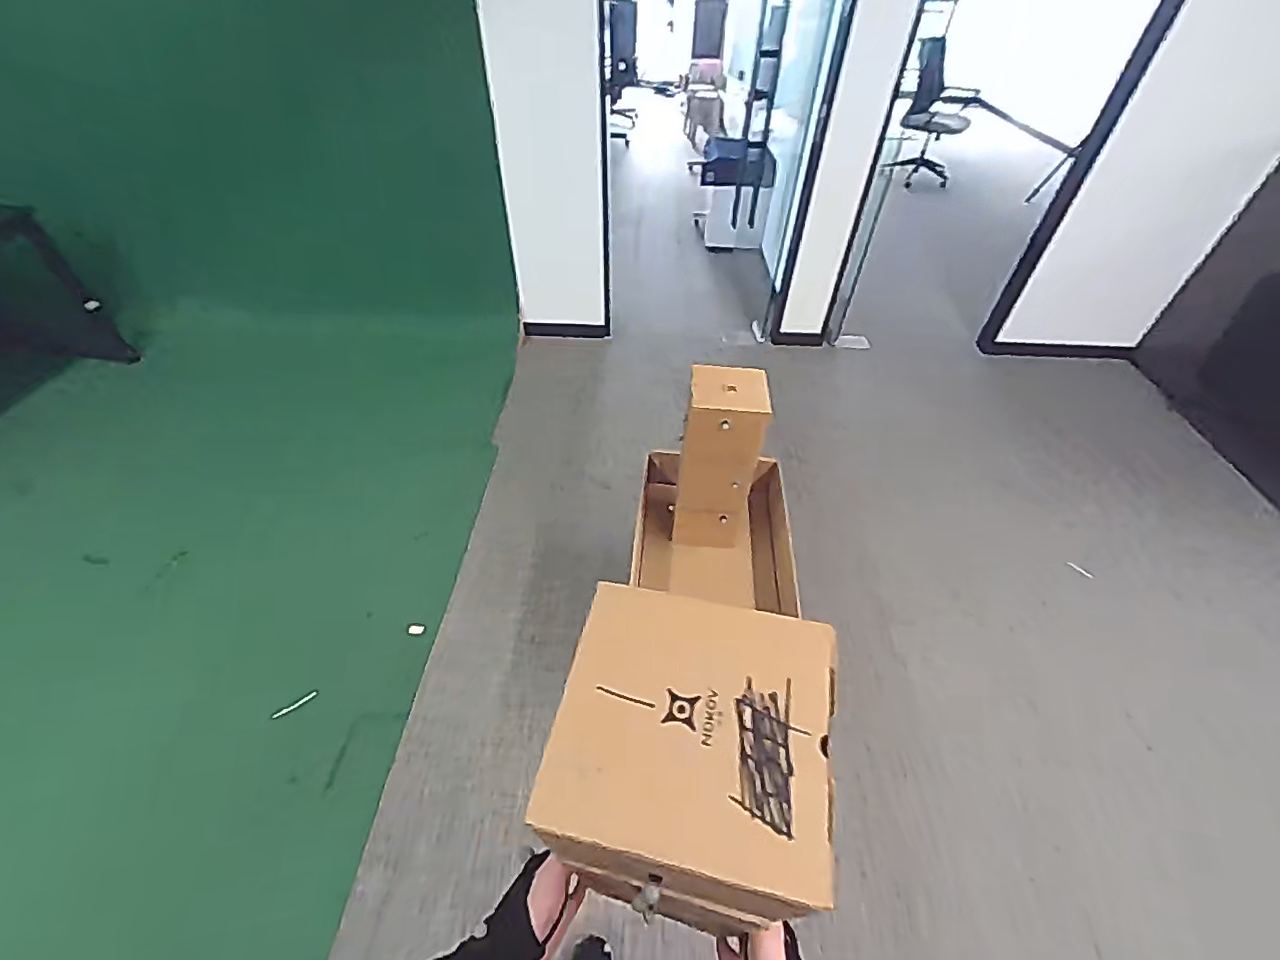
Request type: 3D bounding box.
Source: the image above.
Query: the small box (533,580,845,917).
[{"bbox_3d":[0.042,0.202,0.408,0.179,0.176,0.168,10,50,10],"label":"small box"}]

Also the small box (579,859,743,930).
[{"bbox_3d":[0.042,0.418,0.656,0.179,0.176,0.168,13,51,11],"label":"small box"}]

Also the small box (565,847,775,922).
[{"bbox_3d":[0.042,0.310,0.532,0.179,0.176,0.168,11,51,11],"label":"small box"}]

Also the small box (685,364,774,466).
[{"bbox_3d":[0.204,-0.150,1.271,0.179,0.176,0.168,4,46,1],"label":"small box"}]
